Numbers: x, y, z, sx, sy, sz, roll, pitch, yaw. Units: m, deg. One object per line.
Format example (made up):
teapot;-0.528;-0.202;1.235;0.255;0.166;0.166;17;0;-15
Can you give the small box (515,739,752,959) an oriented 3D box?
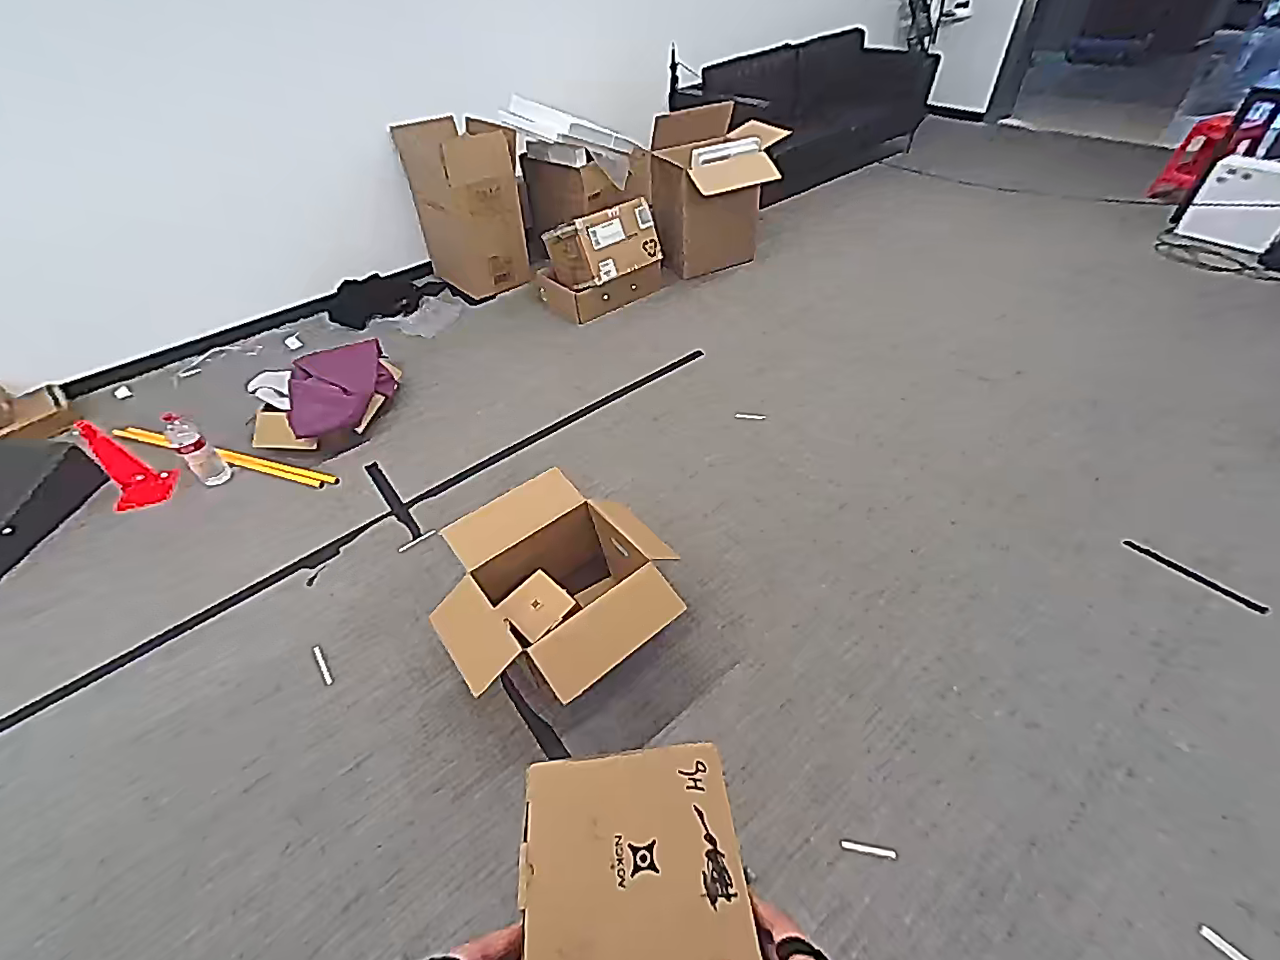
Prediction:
small box;-0.009;0.364;0.496;0.179;0.176;0.168;-5;43;-4
